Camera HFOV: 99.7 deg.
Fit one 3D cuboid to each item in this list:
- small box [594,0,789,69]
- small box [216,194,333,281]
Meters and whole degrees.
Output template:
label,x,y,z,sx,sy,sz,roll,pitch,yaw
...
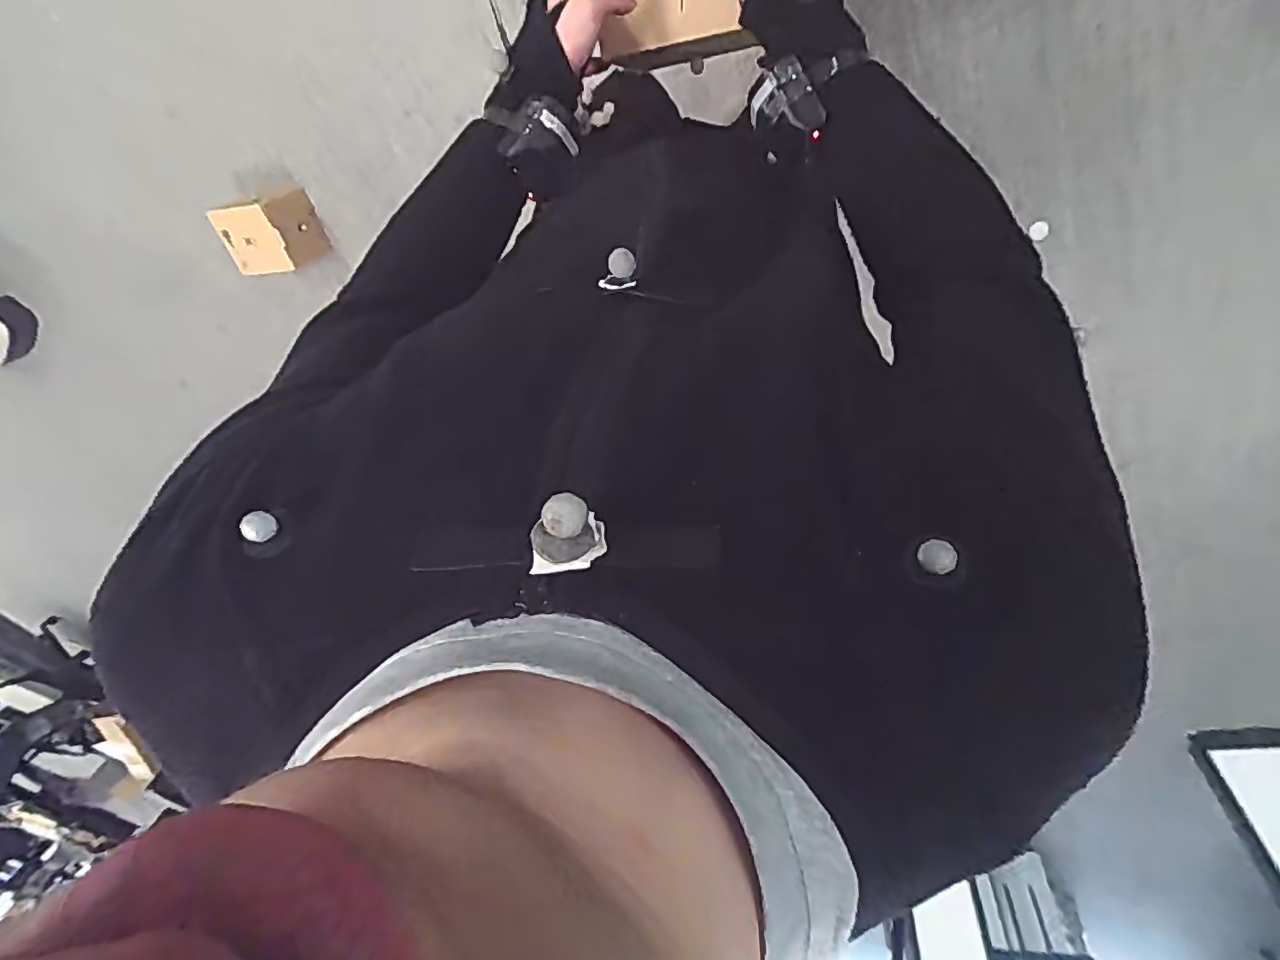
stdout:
label,x,y,z,sx,sy,sz,roll,pitch,yaw
small box,0.048,-0.502,0.491,0.168,0.176,0.179,-1,123,17
small box,-0.972,-0.658,1.465,0.179,0.176,0.168,-1,130,13
